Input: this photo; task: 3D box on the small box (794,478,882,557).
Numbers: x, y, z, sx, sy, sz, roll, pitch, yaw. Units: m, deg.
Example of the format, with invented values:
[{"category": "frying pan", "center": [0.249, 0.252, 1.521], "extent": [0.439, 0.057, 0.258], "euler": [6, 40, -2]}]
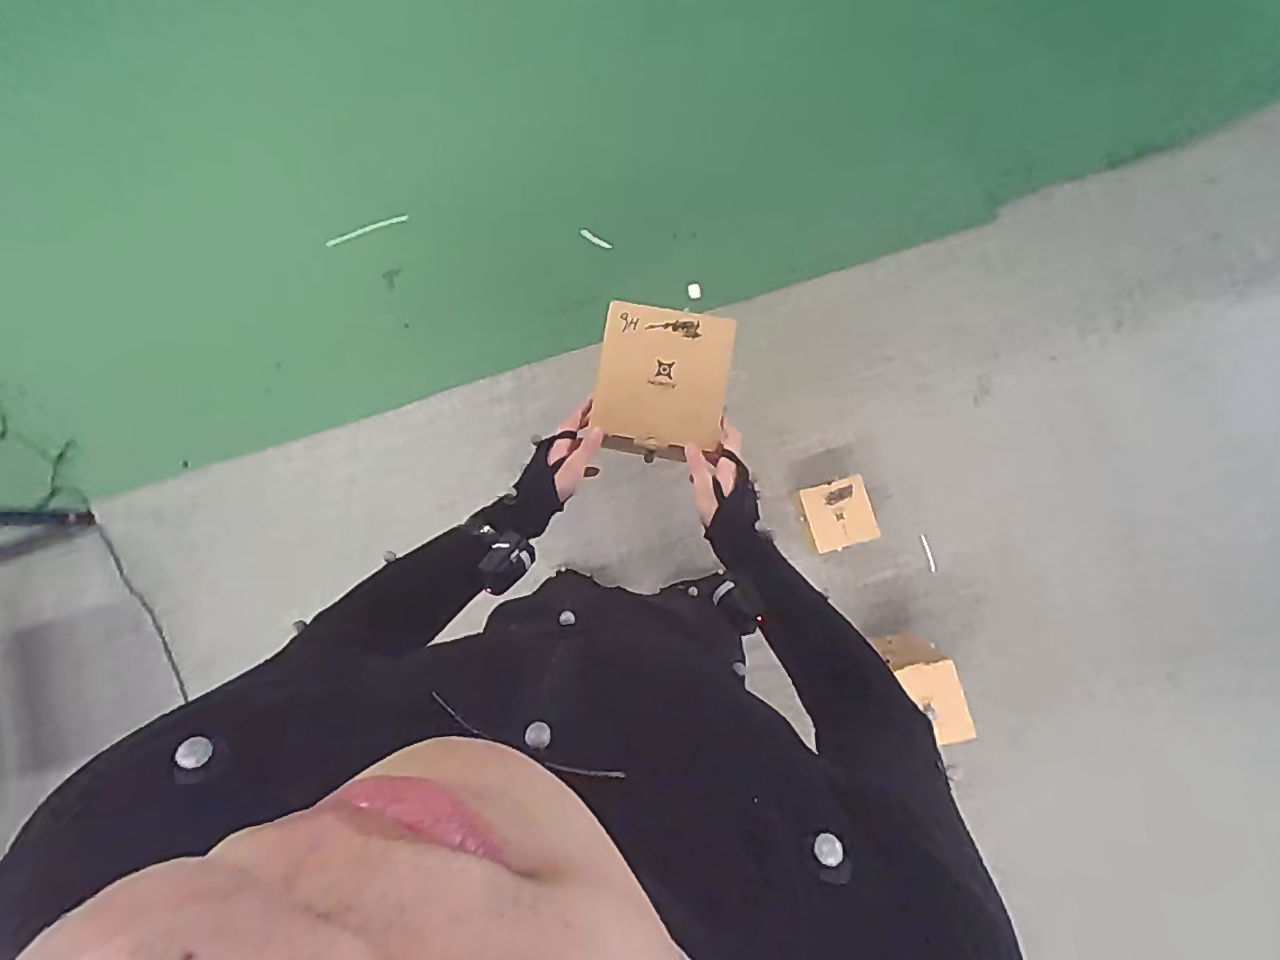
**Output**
[{"category": "small box", "center": [0.535, 0.107, 1.490], "extent": [0.168, 0.176, 0.179], "euler": [-17, 83, 6]}]

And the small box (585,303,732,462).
[{"category": "small box", "center": [0.025, -0.125, 0.759], "extent": [0.168, 0.176, 0.179], "euler": [8, 87, 1]}]

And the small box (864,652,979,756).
[{"category": "small box", "center": [0.645, 0.511, 1.263], "extent": [0.168, 0.176, 0.179], "euler": [-15, 83, 7]}]
